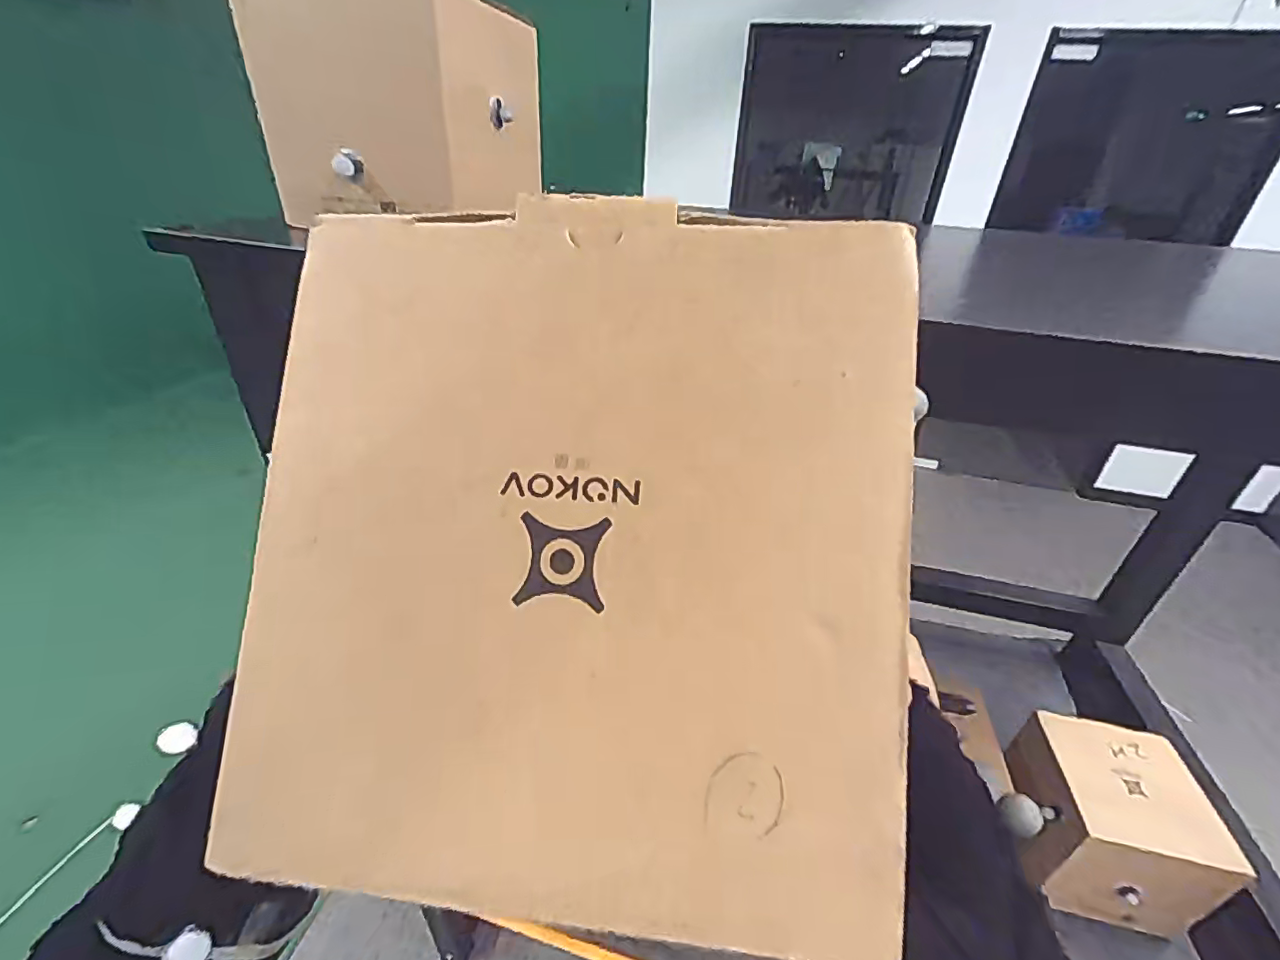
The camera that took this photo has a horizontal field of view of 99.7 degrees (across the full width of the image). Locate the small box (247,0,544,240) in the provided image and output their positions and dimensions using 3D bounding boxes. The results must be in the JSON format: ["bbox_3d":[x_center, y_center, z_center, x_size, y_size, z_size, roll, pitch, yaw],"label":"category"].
[{"bbox_3d":[-0.193,-0.310,0.482,0.168,0.176,0.179,10,33,10],"label":"small box"}]

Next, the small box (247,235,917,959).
[{"bbox_3d":[-0.008,0.028,0.220,0.168,0.179,0.176,4,-6,6],"label":"small box"}]

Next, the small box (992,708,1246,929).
[{"bbox_3d":[0.609,0.447,0.721,0.168,0.176,0.179,10,31,10],"label":"small box"}]
